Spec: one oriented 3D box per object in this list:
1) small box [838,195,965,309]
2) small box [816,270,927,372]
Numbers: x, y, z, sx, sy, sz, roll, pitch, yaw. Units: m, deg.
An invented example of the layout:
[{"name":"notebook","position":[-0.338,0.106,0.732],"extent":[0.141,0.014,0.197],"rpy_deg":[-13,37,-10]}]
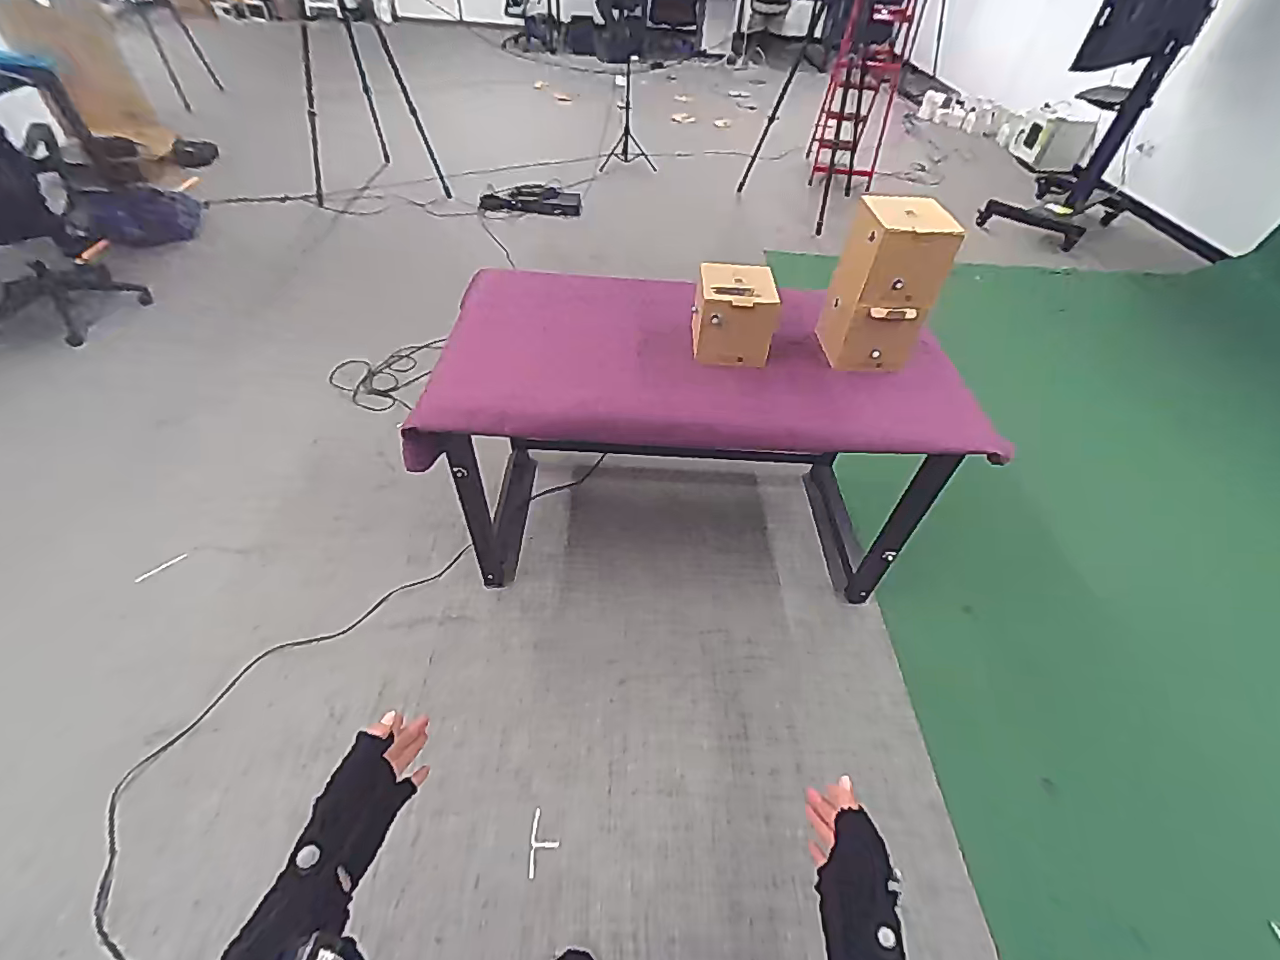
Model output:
[{"name":"small box","position":[0.547,-0.489,1.165],"extent":[0.168,0.176,0.179],"rpy_deg":[1,48,-4]},{"name":"small box","position":[0.535,-0.376,1.282],"extent":[0.168,0.176,0.179],"rpy_deg":[0,48,-3]}]
